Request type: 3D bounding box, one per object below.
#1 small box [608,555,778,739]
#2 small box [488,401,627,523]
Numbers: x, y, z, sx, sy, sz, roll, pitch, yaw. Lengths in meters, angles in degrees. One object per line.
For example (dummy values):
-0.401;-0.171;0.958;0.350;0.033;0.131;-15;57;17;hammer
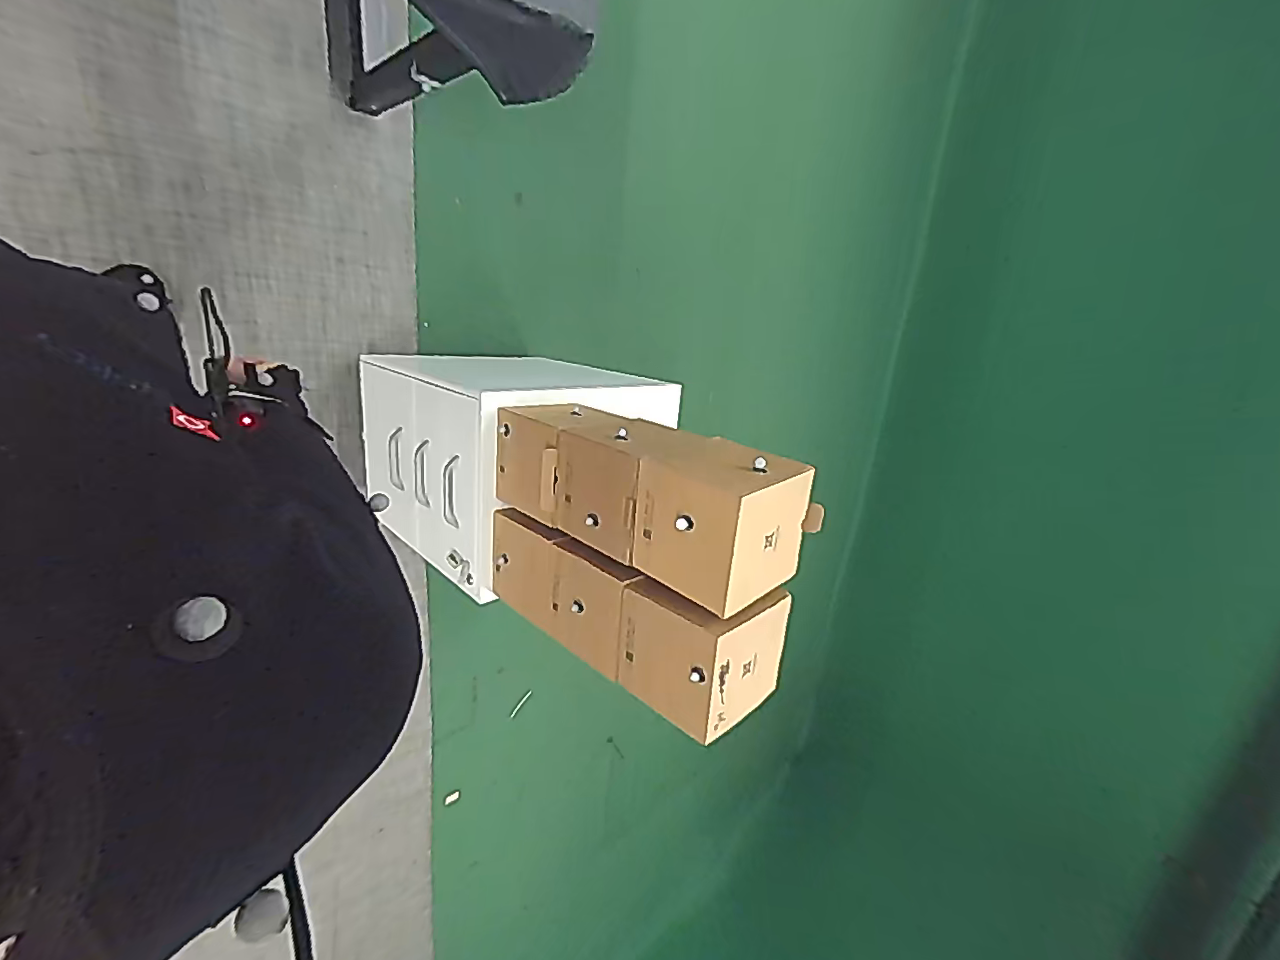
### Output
0.076;0.227;0.792;0.179;0.176;0.168;-14;115;-46;small box
-0.148;-0.040;0.943;0.179;0.176;0.168;-12;116;-46;small box
